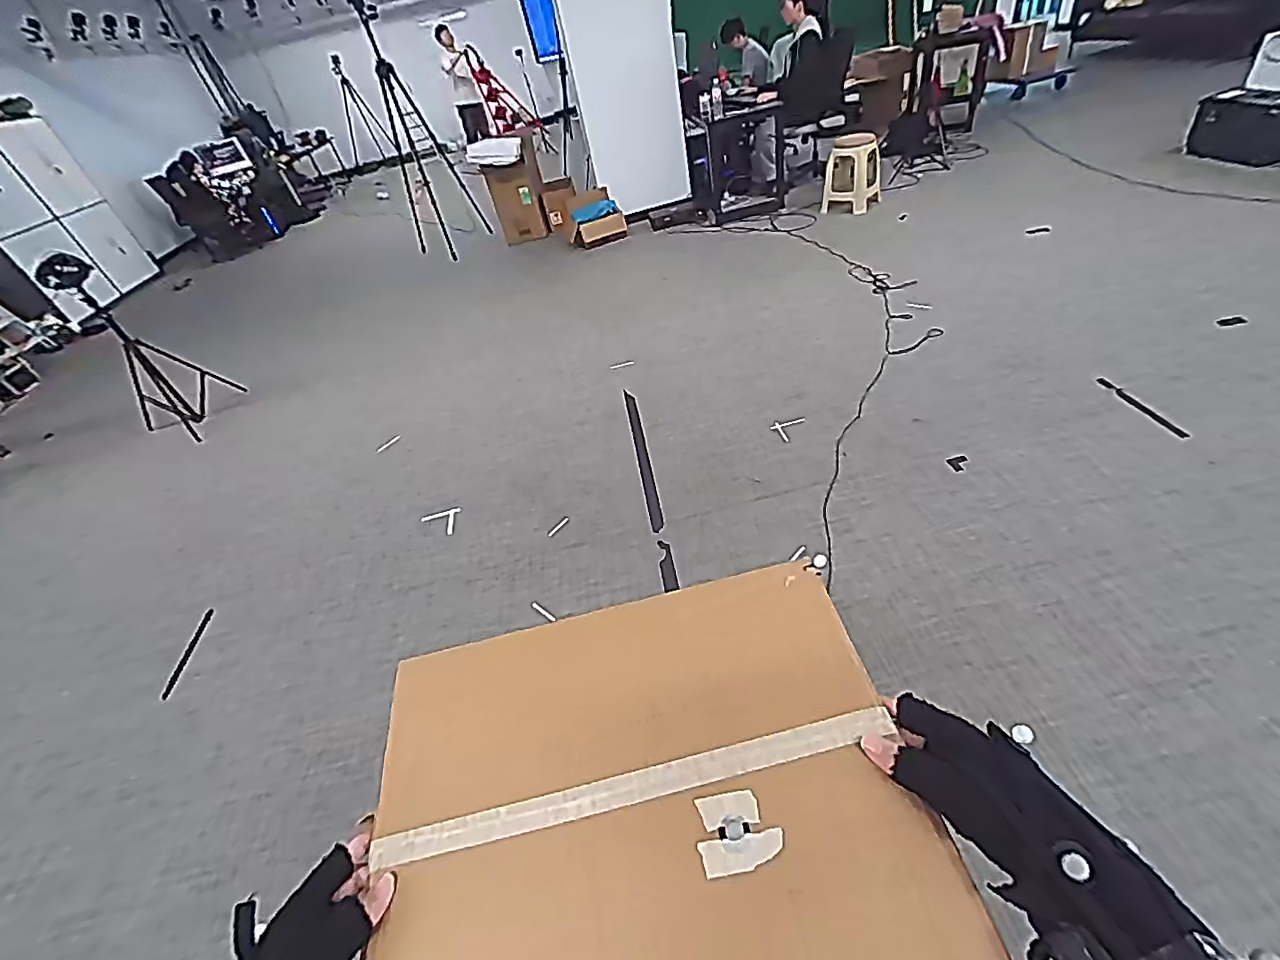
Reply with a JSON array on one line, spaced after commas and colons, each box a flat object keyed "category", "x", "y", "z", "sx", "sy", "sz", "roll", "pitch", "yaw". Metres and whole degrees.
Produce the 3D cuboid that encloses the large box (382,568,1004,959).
[{"category": "large box", "x": 0.023, "y": 0.342, "z": 0.527, "sx": 0.408, "sy": 0.320, "sz": 0.320, "roll": -14, "pitch": 47, "yaw": -1}]
